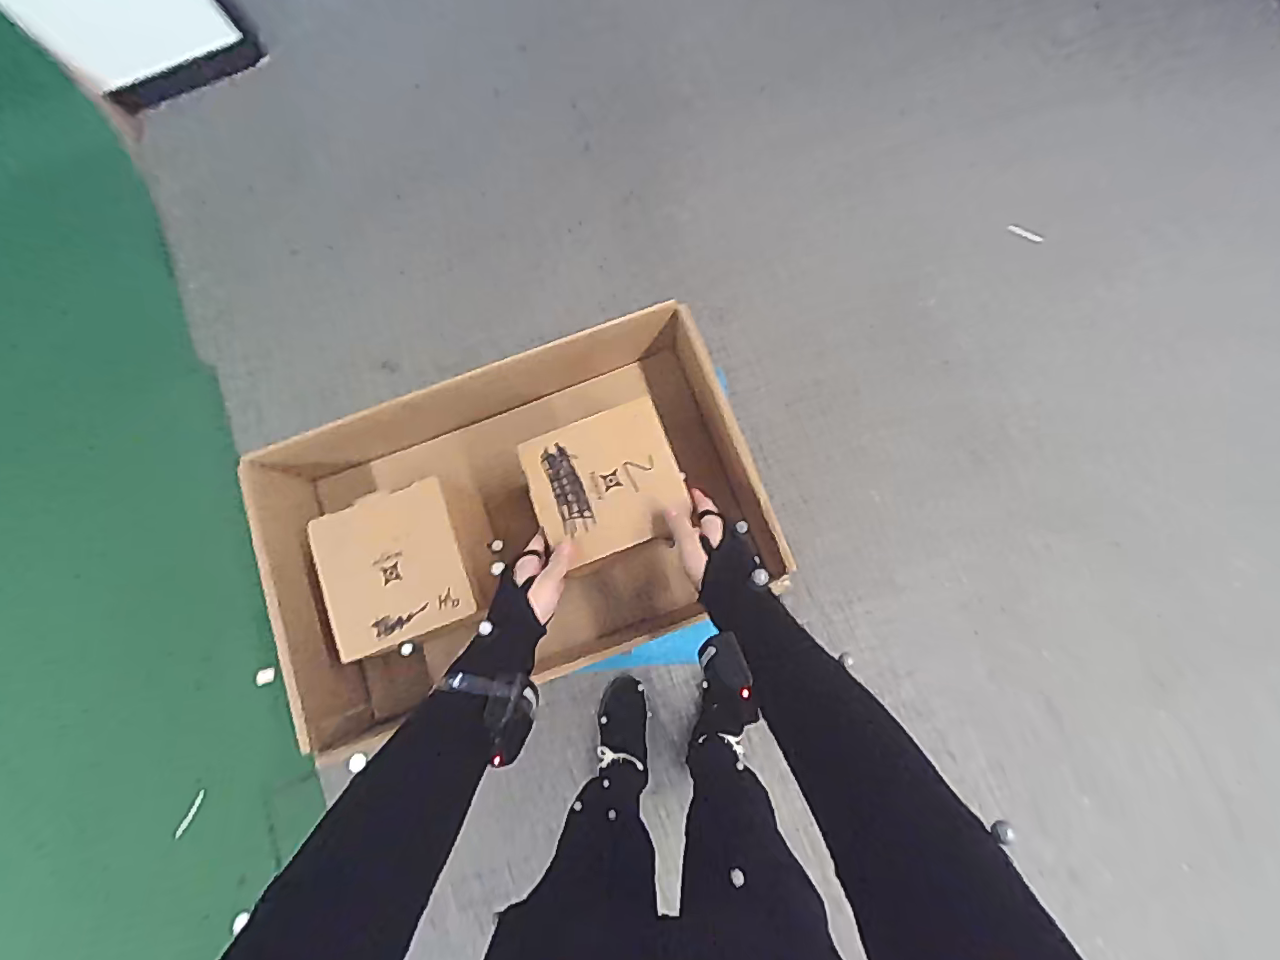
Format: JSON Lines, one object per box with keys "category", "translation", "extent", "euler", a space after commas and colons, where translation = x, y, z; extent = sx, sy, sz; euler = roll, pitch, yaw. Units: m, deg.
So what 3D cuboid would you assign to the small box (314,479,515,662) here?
{"category": "small box", "translation": [-0.285, 0.121, 0.712], "extent": [0.168, 0.176, 0.179], "euler": [-20, 77, 0]}
